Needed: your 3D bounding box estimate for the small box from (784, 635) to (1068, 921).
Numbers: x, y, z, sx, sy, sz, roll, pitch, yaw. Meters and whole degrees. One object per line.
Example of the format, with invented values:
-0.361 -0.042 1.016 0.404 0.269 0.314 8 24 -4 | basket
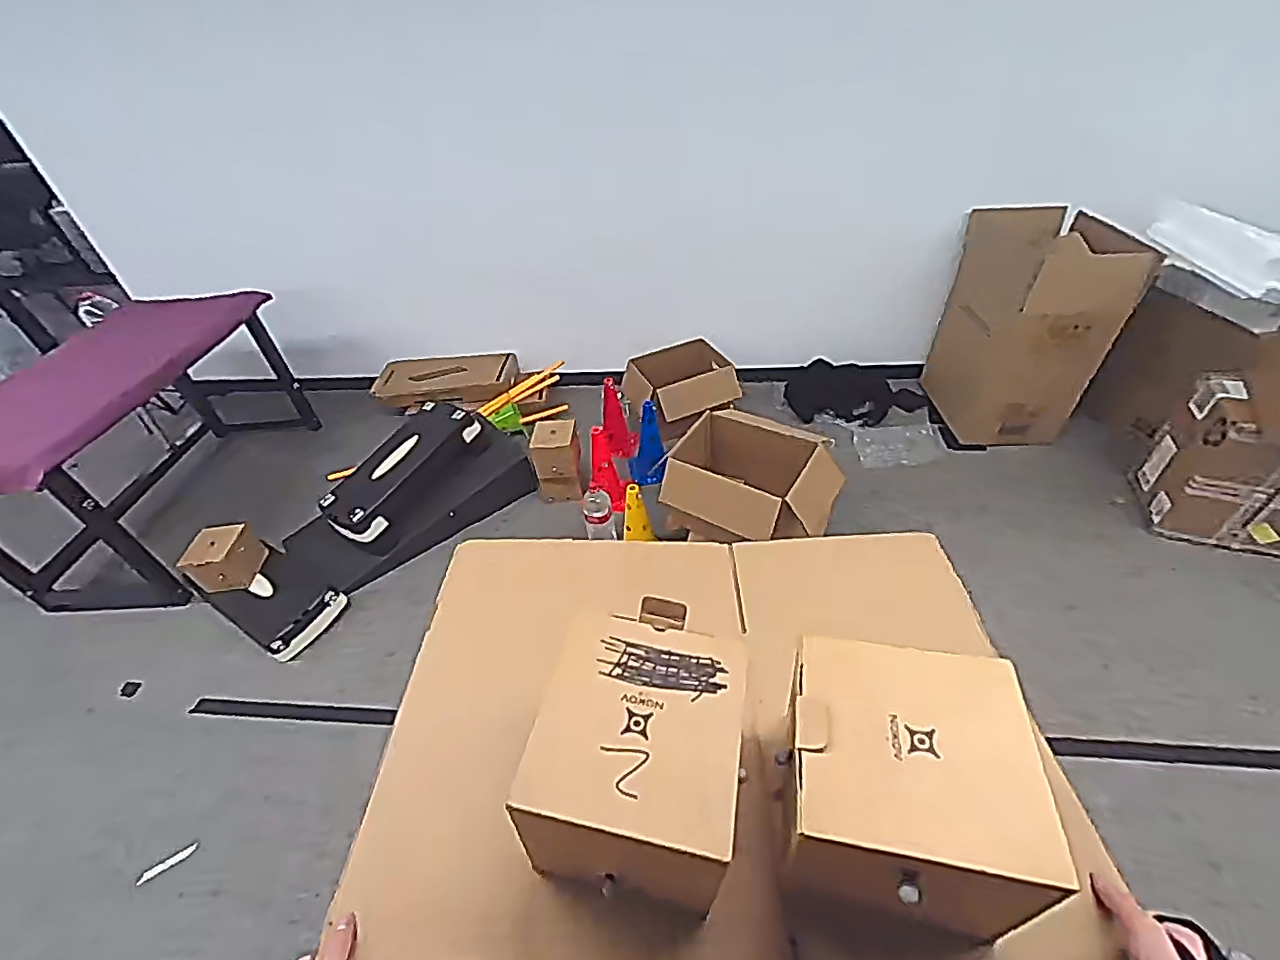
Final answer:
0.228 0.266 0.487 0.179 0.176 0.168 3 42 14 | small box
